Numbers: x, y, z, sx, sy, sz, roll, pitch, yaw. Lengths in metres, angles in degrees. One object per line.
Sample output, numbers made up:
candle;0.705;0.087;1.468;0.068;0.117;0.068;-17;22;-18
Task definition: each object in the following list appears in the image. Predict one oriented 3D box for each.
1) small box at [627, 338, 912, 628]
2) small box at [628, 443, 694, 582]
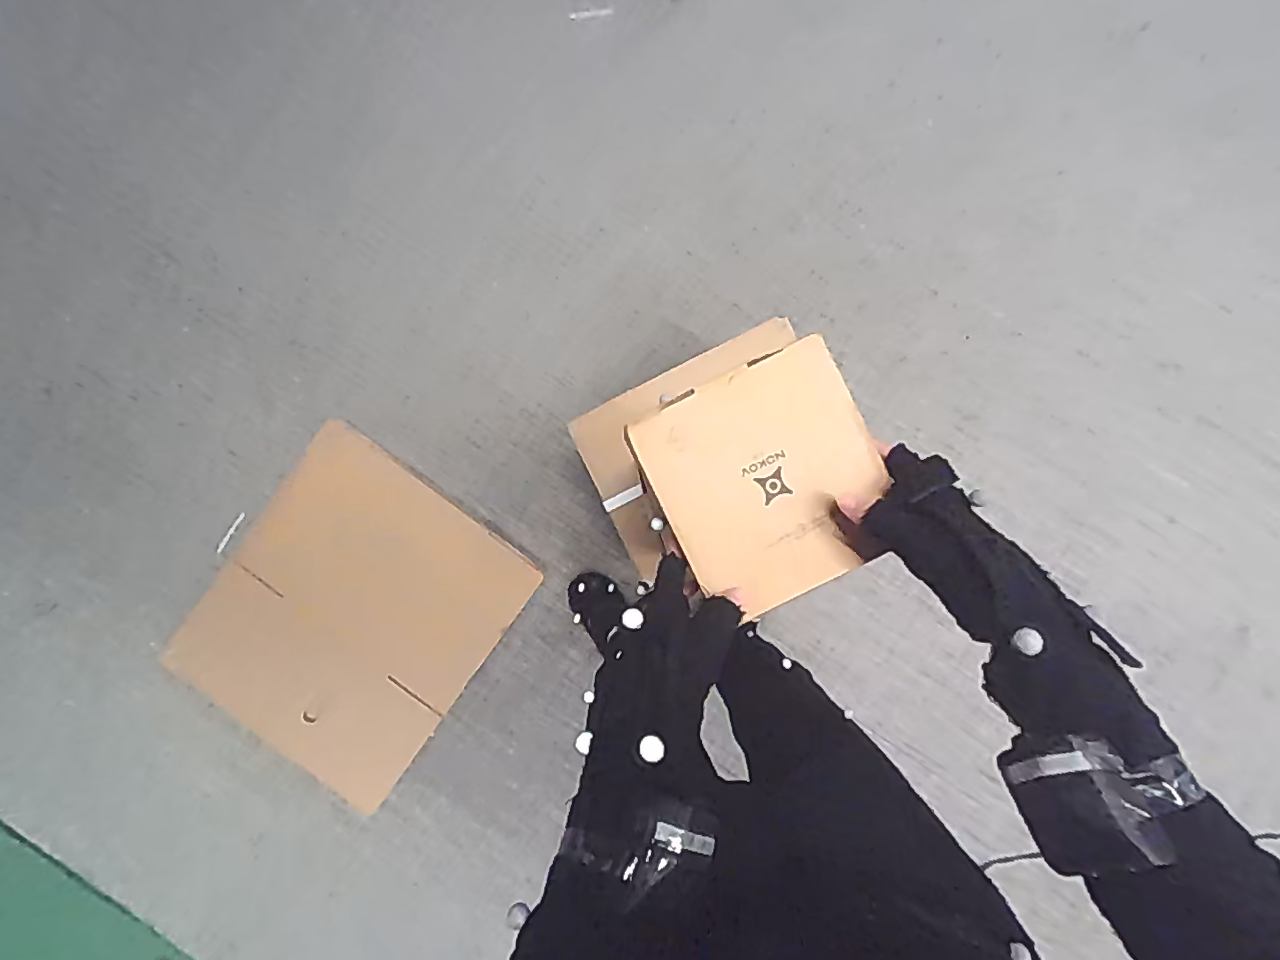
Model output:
small box;0.098;0.003;0.491;0.168;0.176;0.179;-27;90;1
small box;0.098;0.010;0.658;0.179;0.176;0.168;-21;87;1
